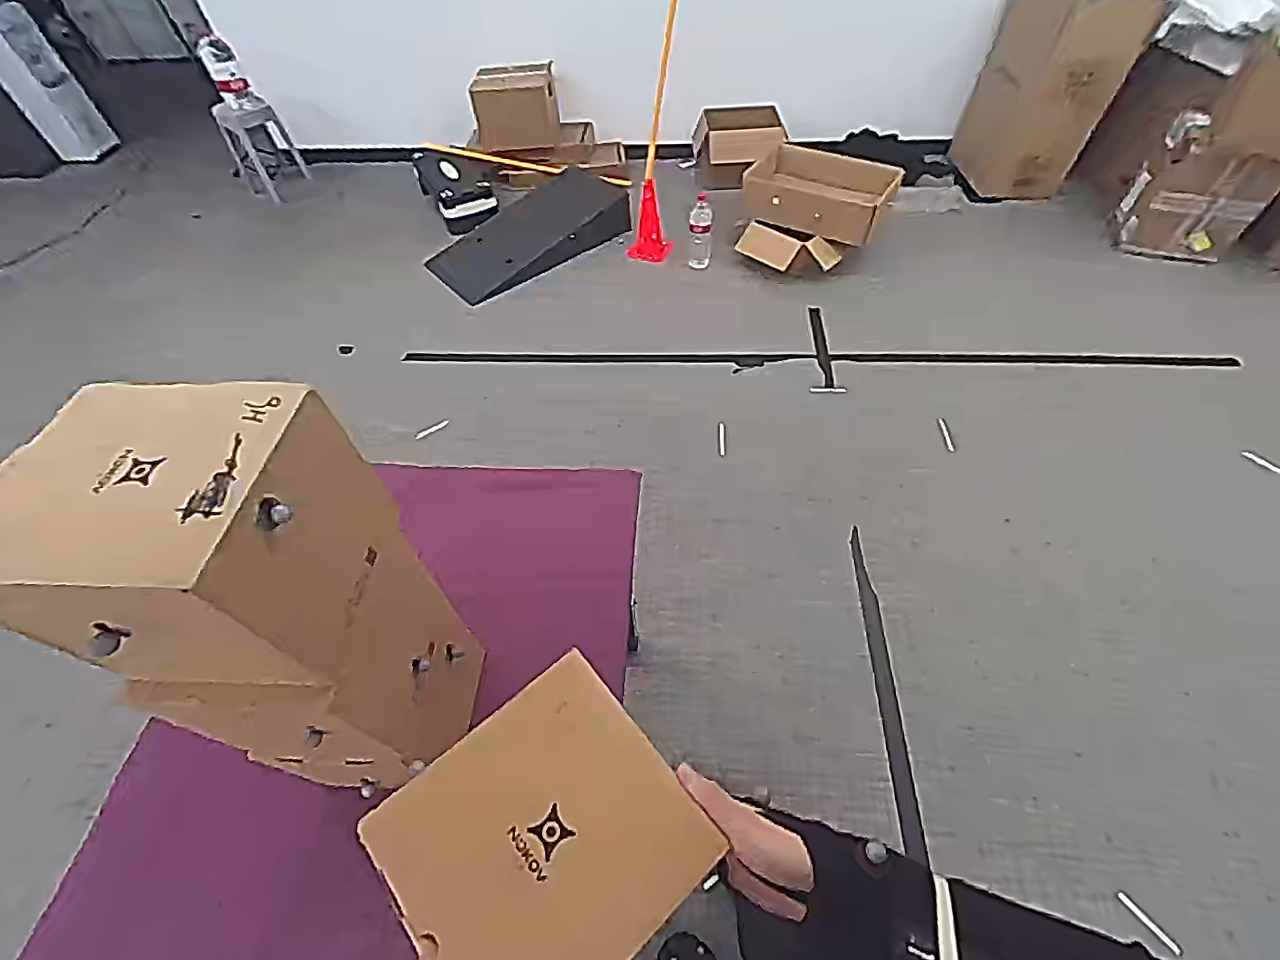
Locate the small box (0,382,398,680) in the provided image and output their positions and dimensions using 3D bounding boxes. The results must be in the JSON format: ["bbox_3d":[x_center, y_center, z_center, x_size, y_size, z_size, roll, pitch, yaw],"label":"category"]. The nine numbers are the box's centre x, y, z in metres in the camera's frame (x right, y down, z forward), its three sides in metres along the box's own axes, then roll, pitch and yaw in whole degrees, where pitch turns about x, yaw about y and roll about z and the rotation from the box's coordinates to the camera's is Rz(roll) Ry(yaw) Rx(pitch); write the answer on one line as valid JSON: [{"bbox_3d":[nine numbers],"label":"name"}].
[{"bbox_3d":[-0.321,0.044,0.411,0.179,0.176,0.168,0,53,3],"label":"small box"}]

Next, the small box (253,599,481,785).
[{"bbox_3d":[-0.307,0.260,0.658,0.168,0.176,0.179,0,53,4],"label":"small box"}]

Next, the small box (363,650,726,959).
[{"bbox_3d":[-0.065,0.264,0.413,0.179,0.176,0.168,-35,68,-20],"label":"small box"}]
